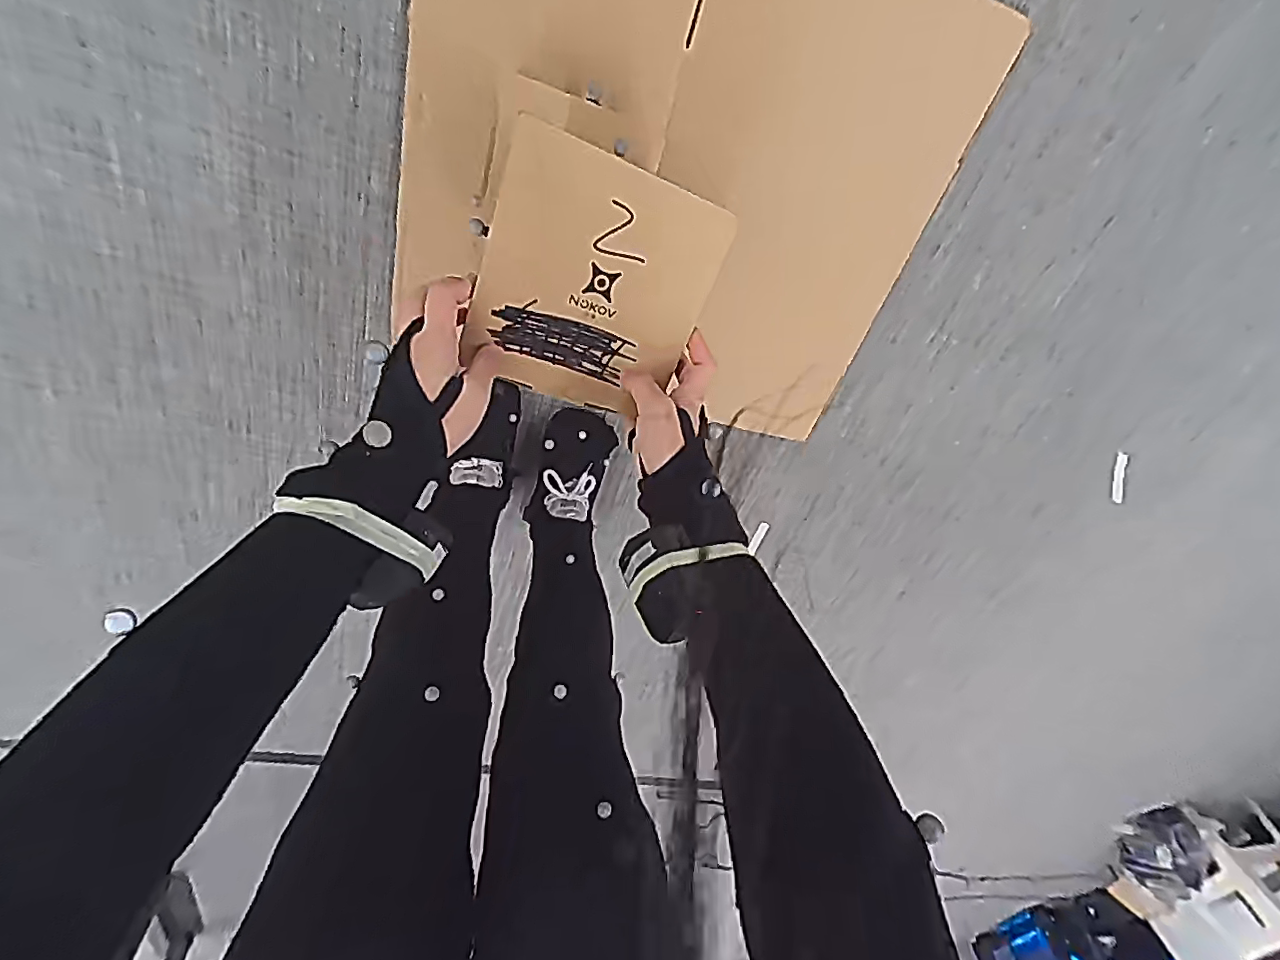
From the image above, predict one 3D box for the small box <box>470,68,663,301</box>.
[{"bbox_3d":[-0.089,-0.336,0.620,0.168,0.176,0.179,11,122,-18],"label":"small box"}]
